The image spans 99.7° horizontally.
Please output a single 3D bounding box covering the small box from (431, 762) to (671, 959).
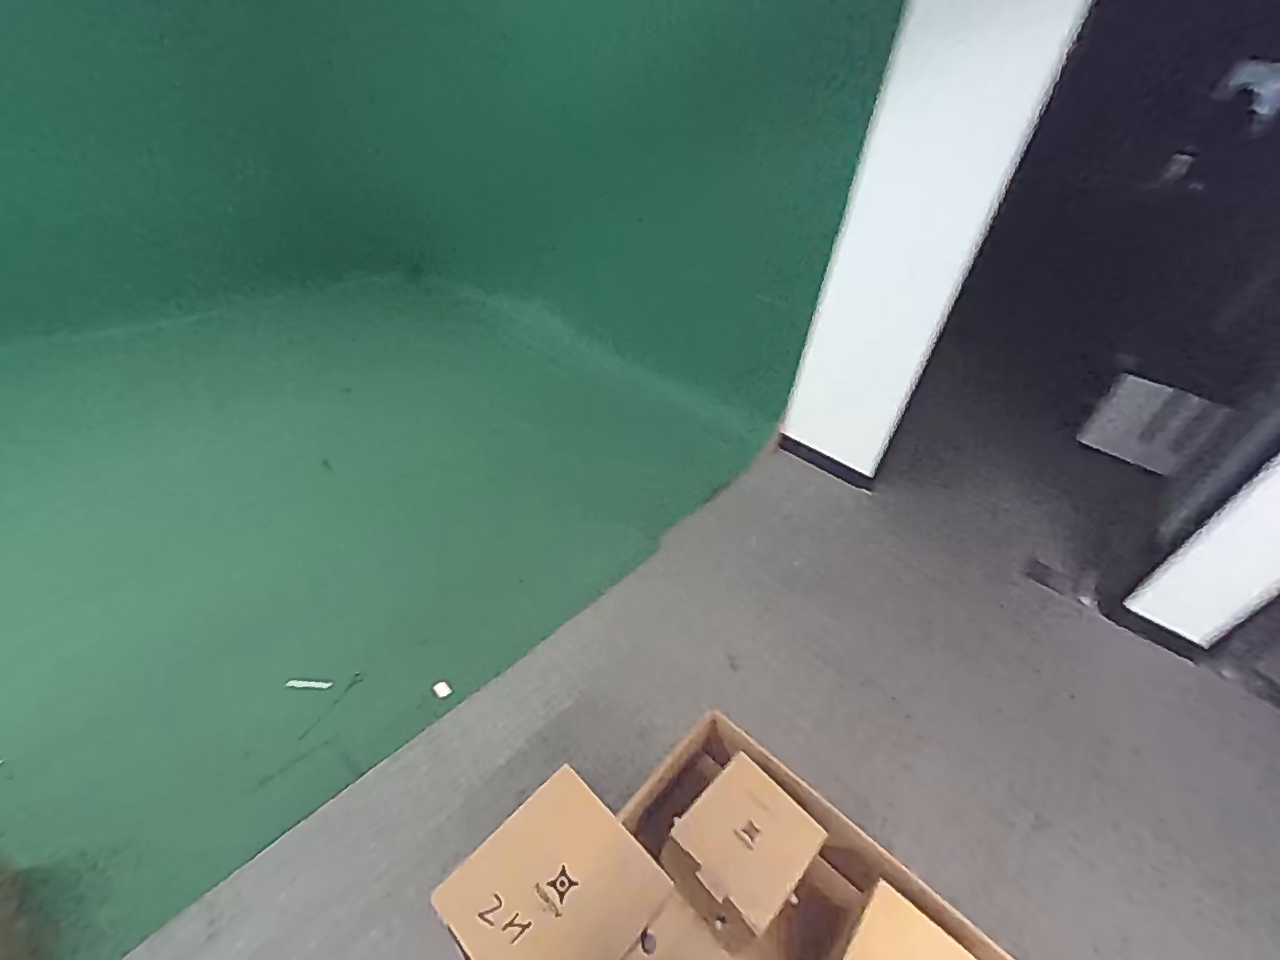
[{"bbox_3d":[-0.093,0.455,0.578,0.168,0.176,0.179,35,49,28],"label":"small box"}]

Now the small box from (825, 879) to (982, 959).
[{"bbox_3d":[0.343,0.694,0.721,0.168,0.176,0.179,32,48,29],"label":"small box"}]
